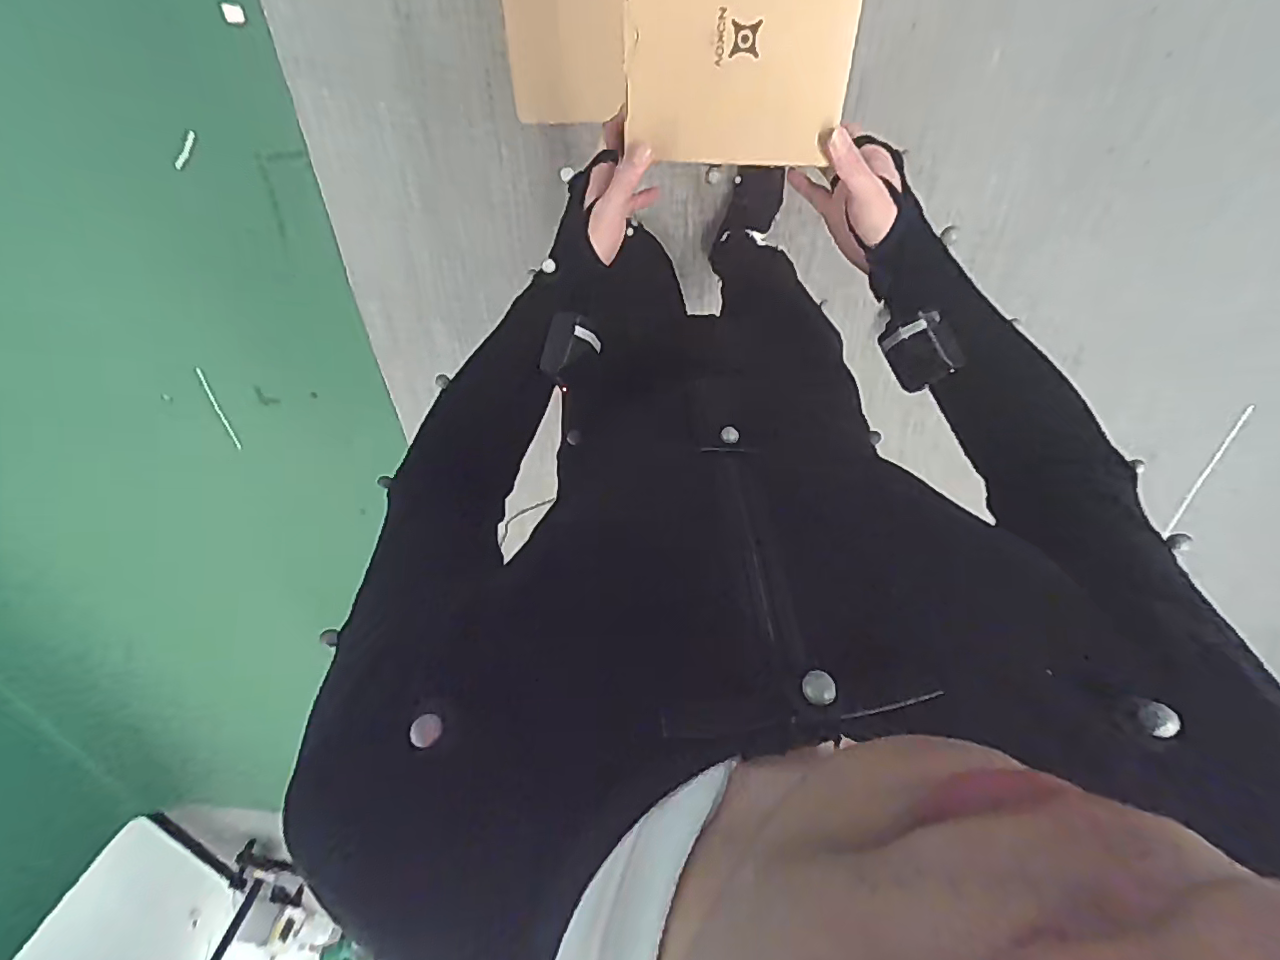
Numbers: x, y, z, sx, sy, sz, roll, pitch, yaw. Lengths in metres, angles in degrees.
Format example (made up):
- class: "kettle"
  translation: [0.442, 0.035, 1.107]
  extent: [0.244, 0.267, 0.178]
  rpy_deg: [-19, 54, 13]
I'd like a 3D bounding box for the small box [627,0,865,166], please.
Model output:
- class: "small box"
  translation: [0.083, -0.380, 0.476]
  extent: [0.179, 0.176, 0.168]
  rpy_deg: [3, 123, 3]
